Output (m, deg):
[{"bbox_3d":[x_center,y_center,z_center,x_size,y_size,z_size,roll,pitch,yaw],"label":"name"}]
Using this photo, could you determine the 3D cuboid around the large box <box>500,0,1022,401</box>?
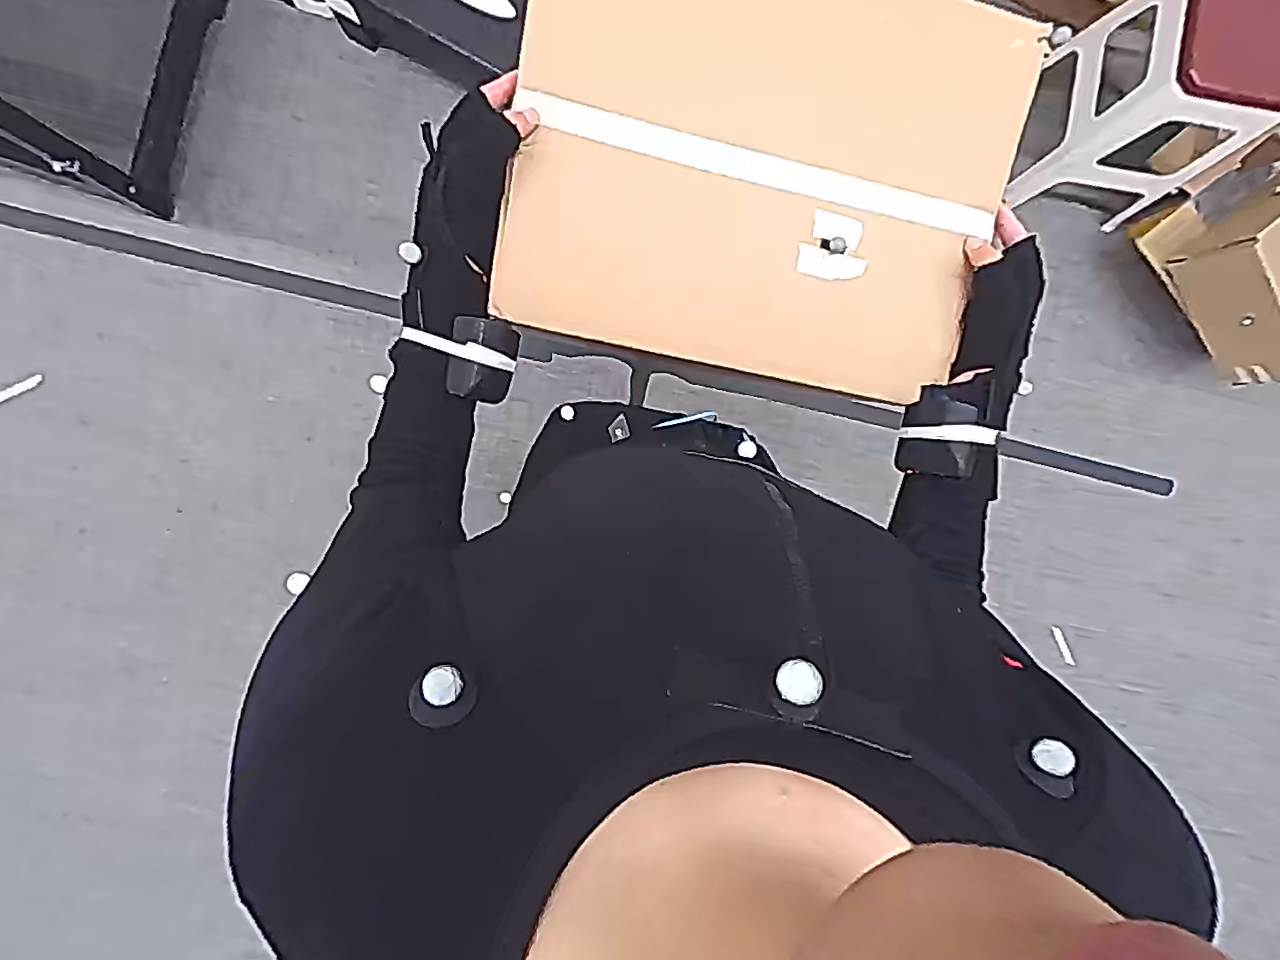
[{"bbox_3d":[0.082,-0.282,0.594,0.408,0.320,0.320,10,102,-9],"label":"large box"}]
